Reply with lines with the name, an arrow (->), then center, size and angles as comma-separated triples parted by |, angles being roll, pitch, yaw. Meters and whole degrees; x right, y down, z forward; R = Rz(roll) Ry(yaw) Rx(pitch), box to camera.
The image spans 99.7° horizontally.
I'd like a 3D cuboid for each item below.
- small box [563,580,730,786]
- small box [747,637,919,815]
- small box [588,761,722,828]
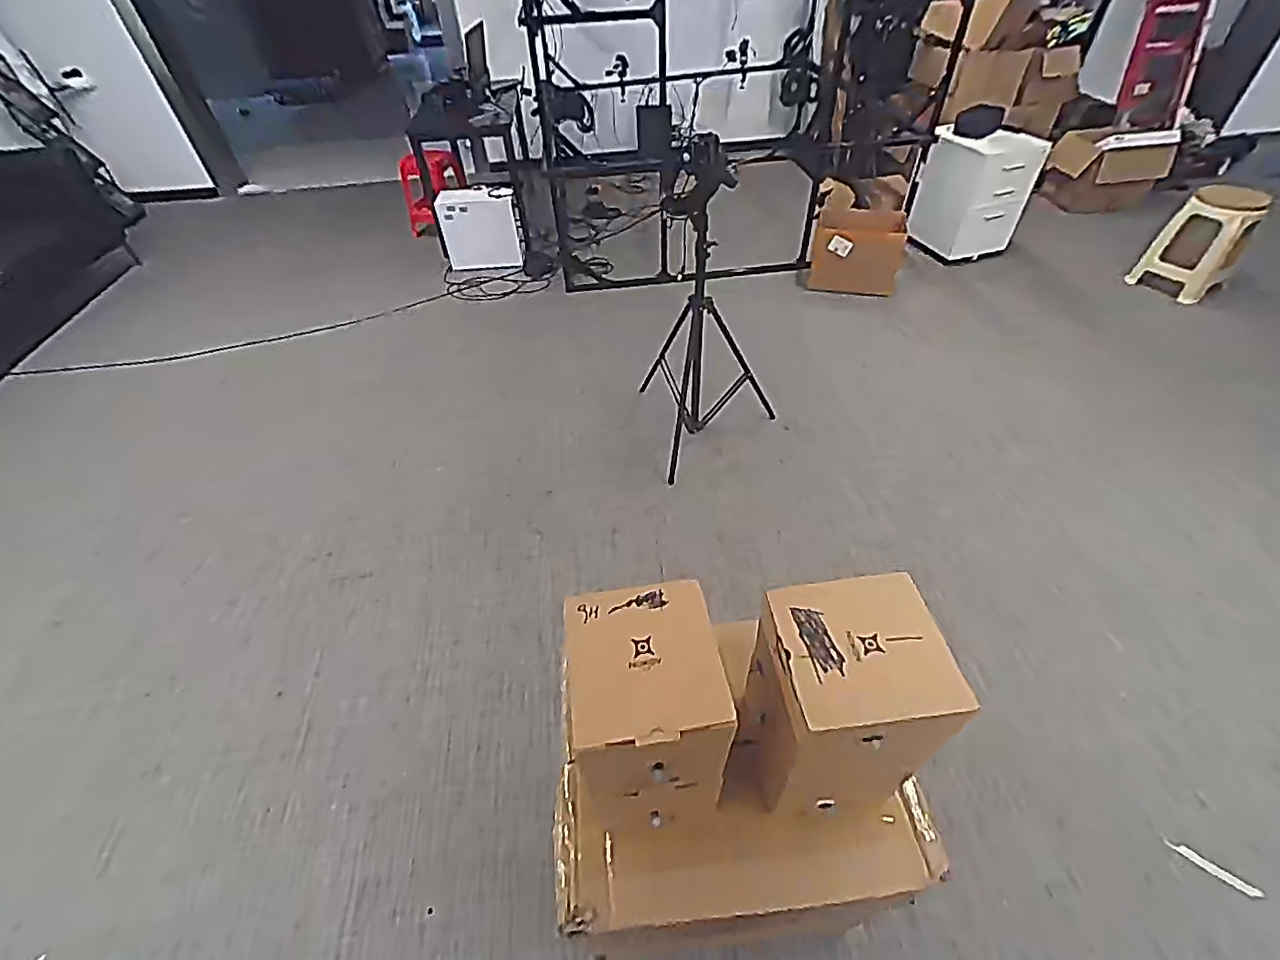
small box -> 0.004, 0.248, 0.648 | 0.168, 0.176, 0.179 | -8, 46, -5
small box -> 0.254, 0.349, 0.766 | 0.168, 0.176, 0.179 | -8, 47, -1
small box -> 0.011, 0.364, 0.765 | 0.168, 0.176, 0.179 | -7, 46, -4
